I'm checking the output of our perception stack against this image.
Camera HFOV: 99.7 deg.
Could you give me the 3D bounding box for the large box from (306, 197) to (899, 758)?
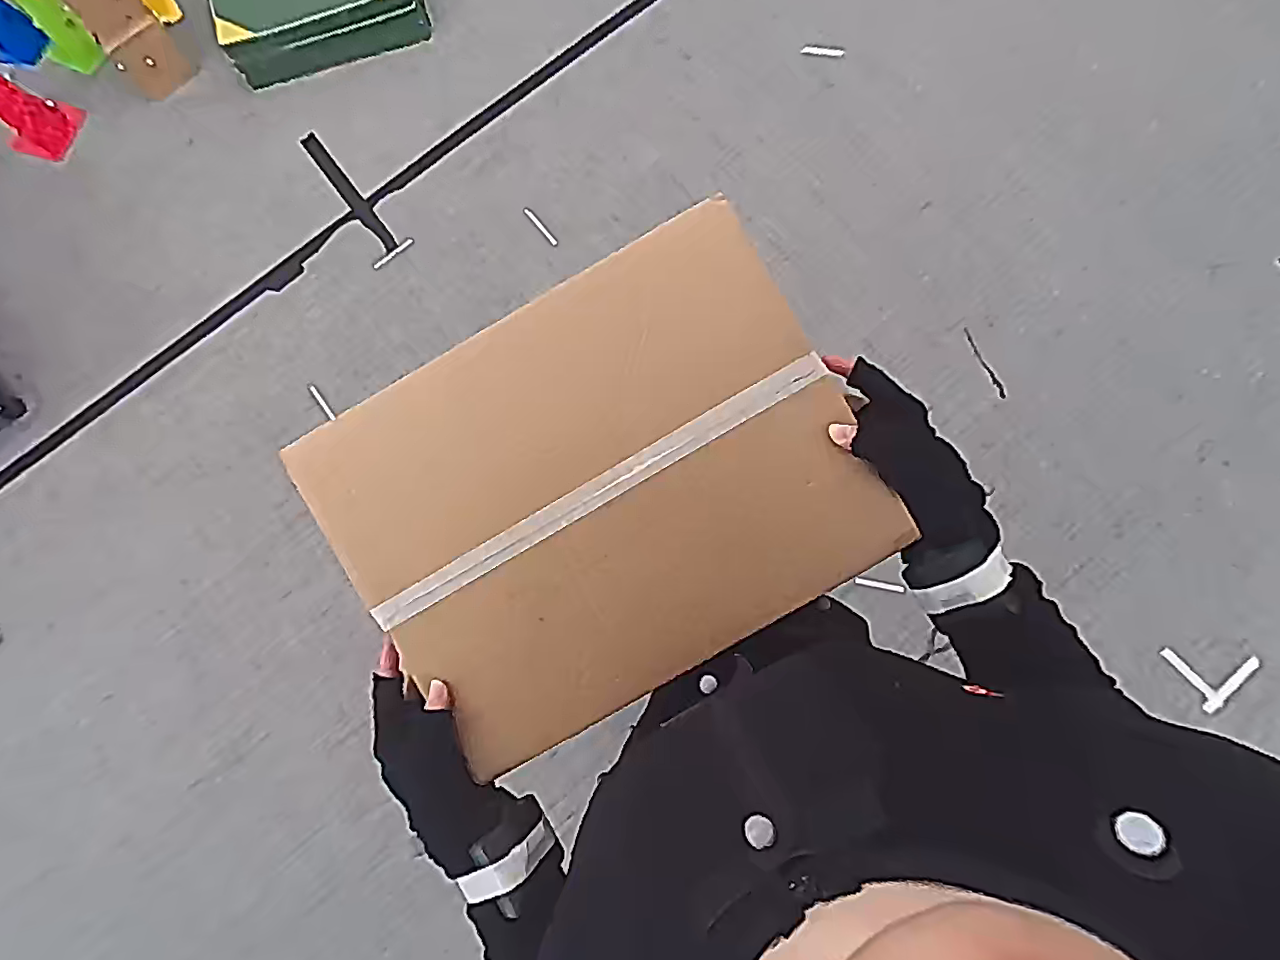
[{"bbox_3d":[-0.031,0.000,0.588,0.408,0.320,0.320,-30,91,2],"label":"large box"}]
